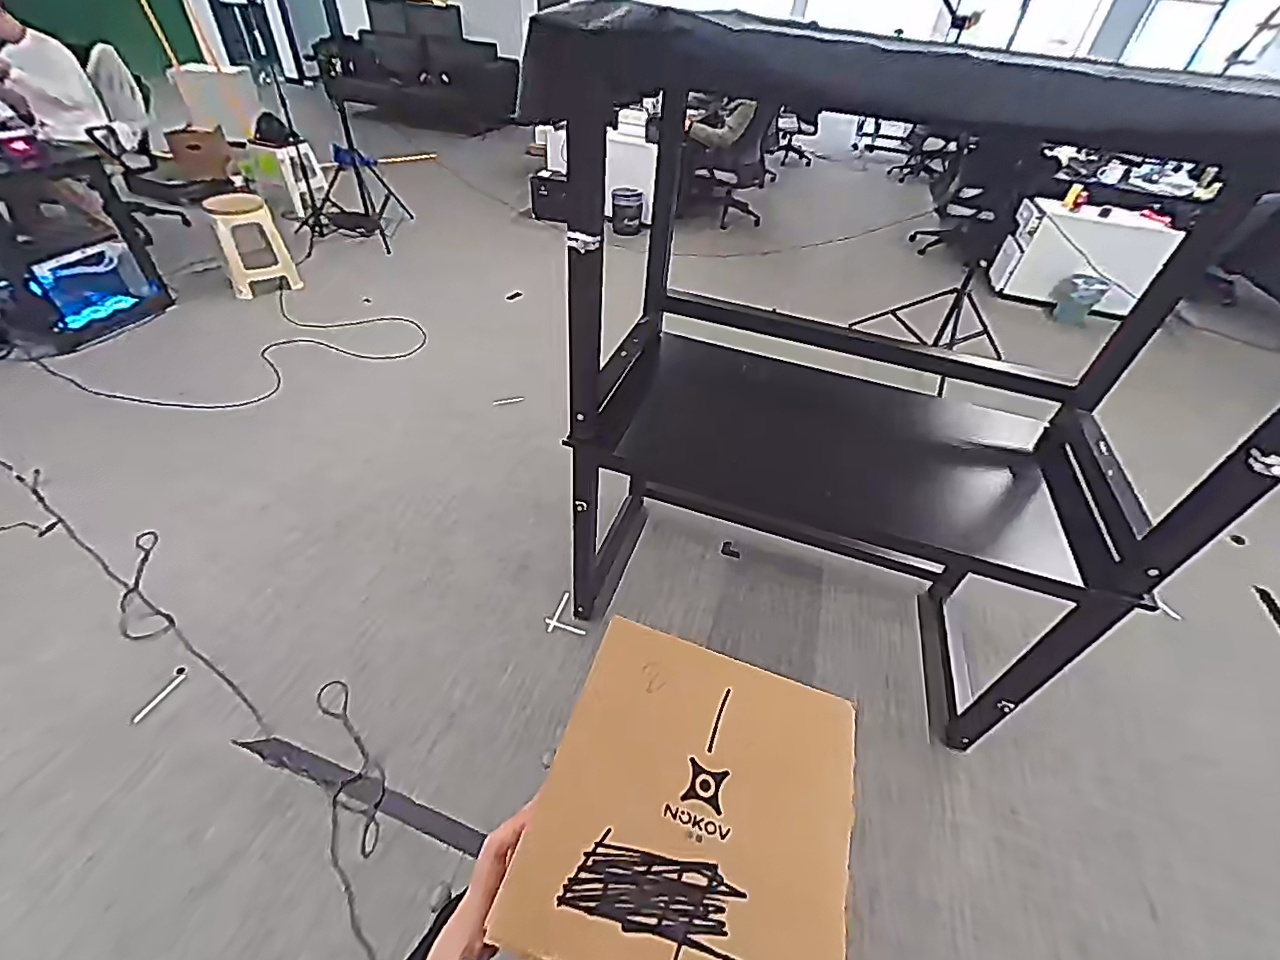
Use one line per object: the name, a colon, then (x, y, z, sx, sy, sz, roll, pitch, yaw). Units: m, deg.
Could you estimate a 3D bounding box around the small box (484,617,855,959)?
small box: (0.022, 0.227, 0.351, 0.168, 0.176, 0.179, 19, 47, 7)
